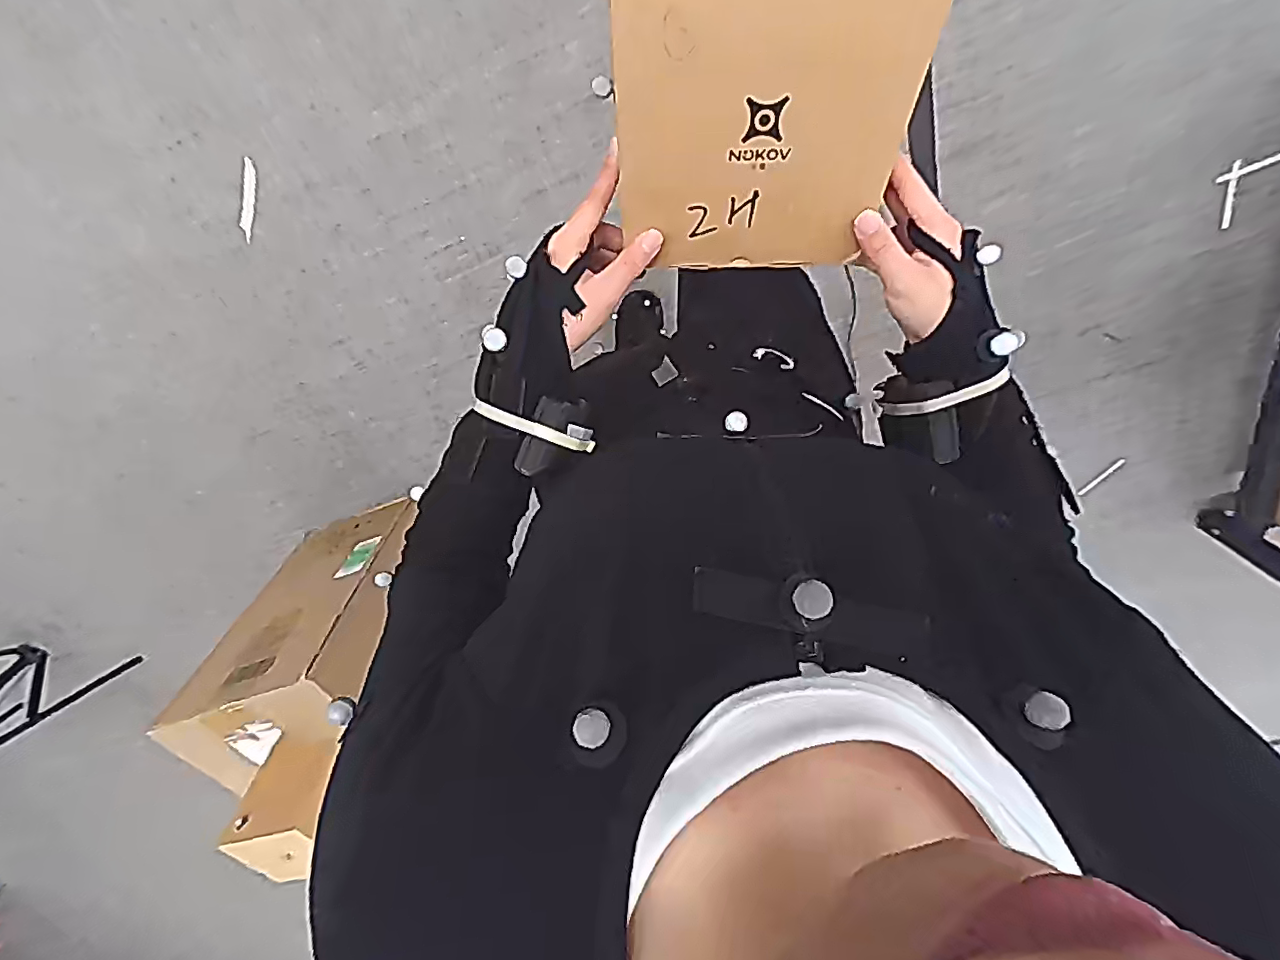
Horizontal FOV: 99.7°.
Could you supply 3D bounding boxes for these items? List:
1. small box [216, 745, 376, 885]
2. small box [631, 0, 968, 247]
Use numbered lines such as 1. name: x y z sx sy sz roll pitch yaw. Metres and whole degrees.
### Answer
1. small box: -0.640 0.639 1.040 0.179 0.176 0.168 -17 122 10
2. small box: 0.078 -0.275 0.341 0.168 0.176 0.179 0 146 2
